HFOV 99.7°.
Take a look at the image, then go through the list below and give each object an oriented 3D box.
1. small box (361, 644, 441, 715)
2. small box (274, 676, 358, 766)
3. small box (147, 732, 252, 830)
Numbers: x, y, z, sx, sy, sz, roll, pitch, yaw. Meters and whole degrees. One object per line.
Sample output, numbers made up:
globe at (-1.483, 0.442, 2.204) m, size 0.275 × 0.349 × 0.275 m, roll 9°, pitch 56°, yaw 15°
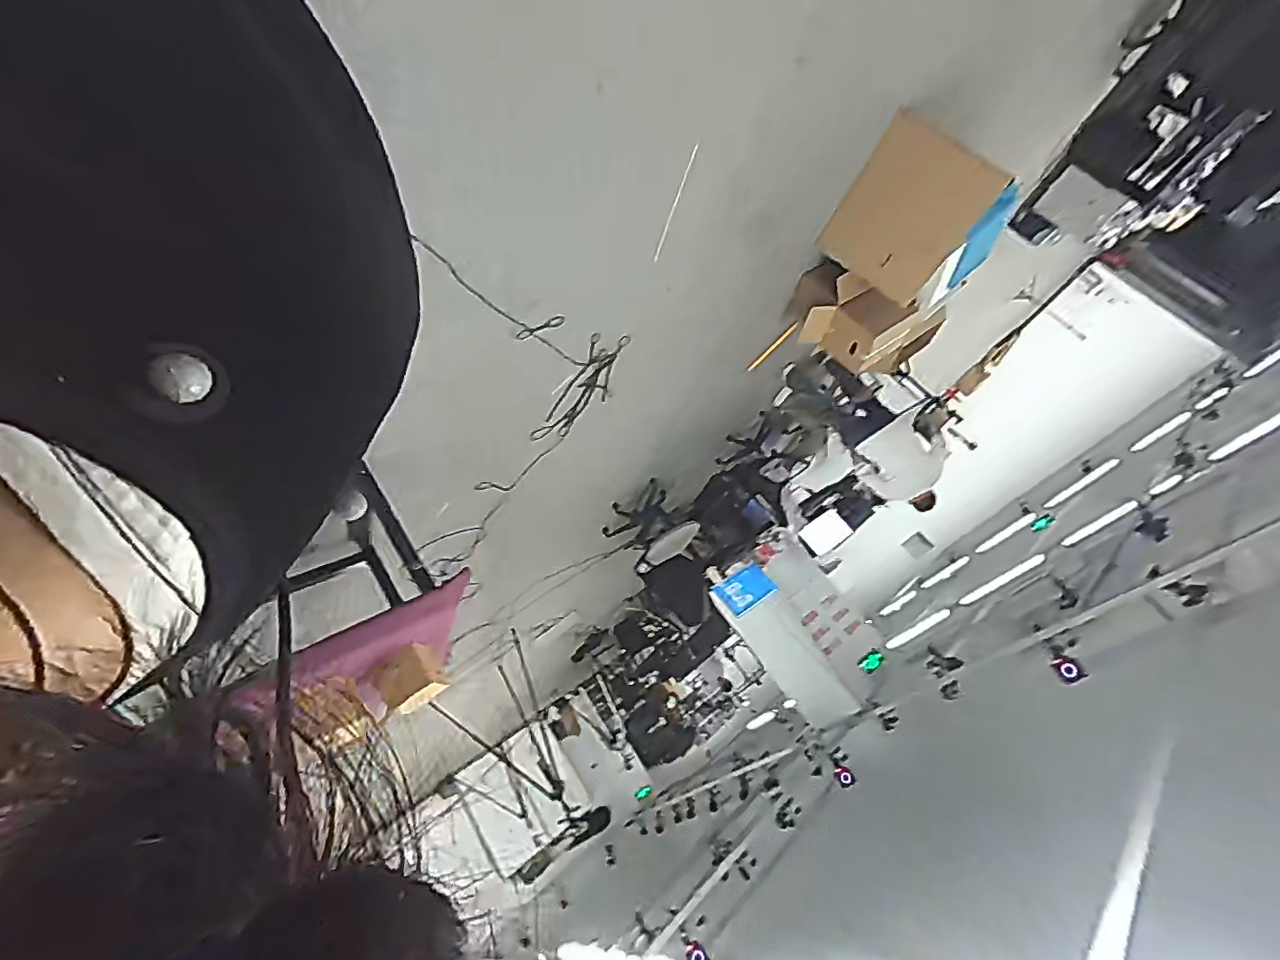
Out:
small box at (-0.833, 0.697, 1.891) m, size 0.168 × 0.176 × 0.179 m, roll -35°, pitch 160°, yaw -13°
small box at (-1.010, 0.738, 1.680) m, size 0.168 × 0.176 × 0.179 m, roll -16°, pitch 150°, yaw -50°
small box at (-1.221, 0.834, 1.505) m, size 0.168 × 0.176 × 0.179 m, roll -25°, pitch 156°, yaw -35°
